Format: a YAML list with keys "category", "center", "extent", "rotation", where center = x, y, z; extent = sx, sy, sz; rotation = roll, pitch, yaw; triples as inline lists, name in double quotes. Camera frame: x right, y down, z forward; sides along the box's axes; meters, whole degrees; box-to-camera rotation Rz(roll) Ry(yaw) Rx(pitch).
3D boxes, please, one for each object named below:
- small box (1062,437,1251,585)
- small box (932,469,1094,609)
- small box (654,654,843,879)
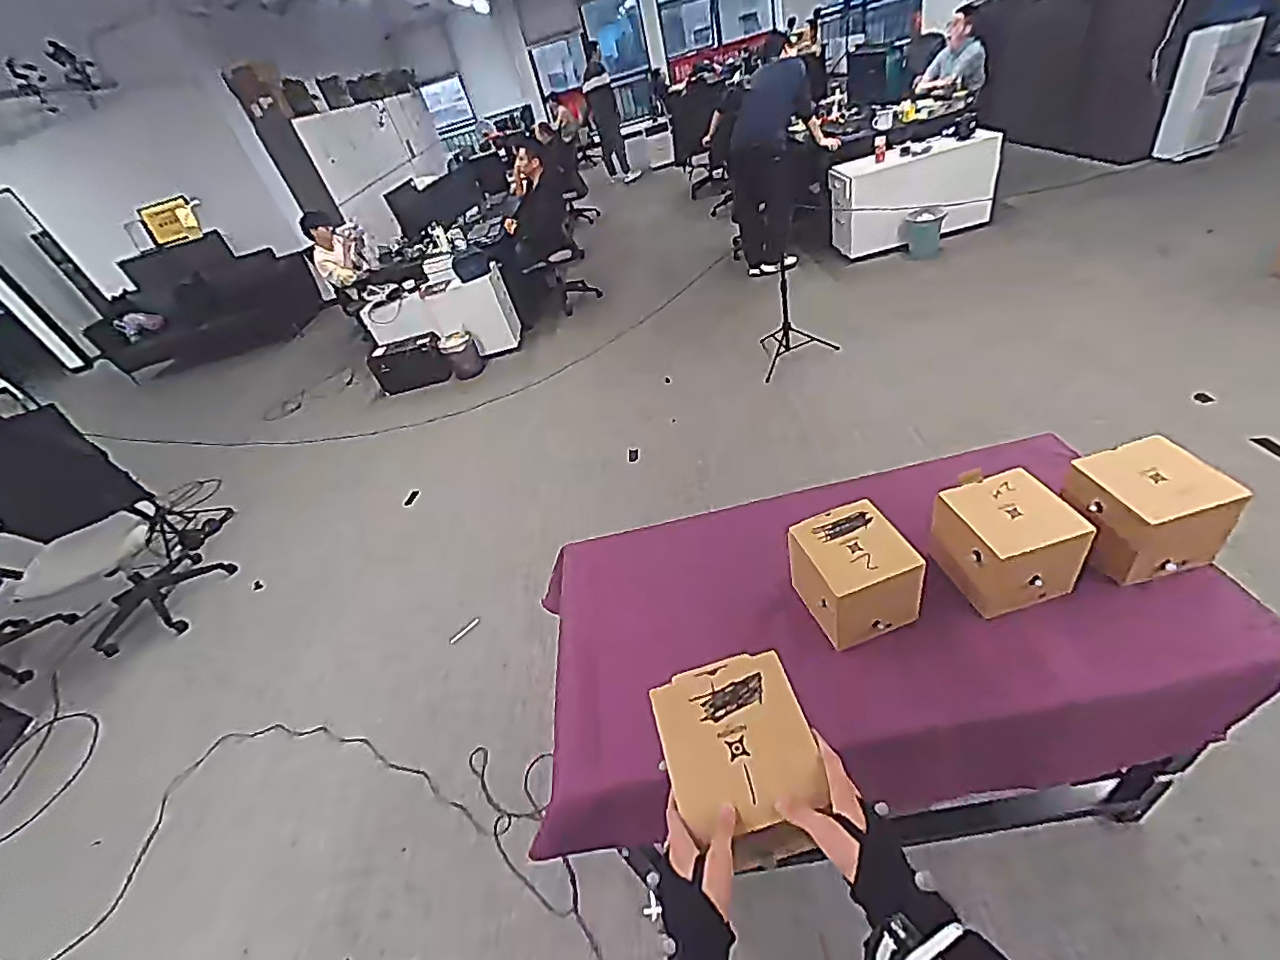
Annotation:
- category: "small box"
  center: [0.895, 0.056, 0.969]
  extent: [0.168, 0.176, 0.179]
  rotation: [-18, 38, 3]
- category: "small box"
  center: [0.664, 0.114, 0.988]
  extent: [0.168, 0.176, 0.179]
  rotation: [-17, 38, 1]
- category: "small box"
  center: [0.126, 0.349, 0.659]
  extent: [0.168, 0.176, 0.179]
  rotation: [-18, 44, 0]
